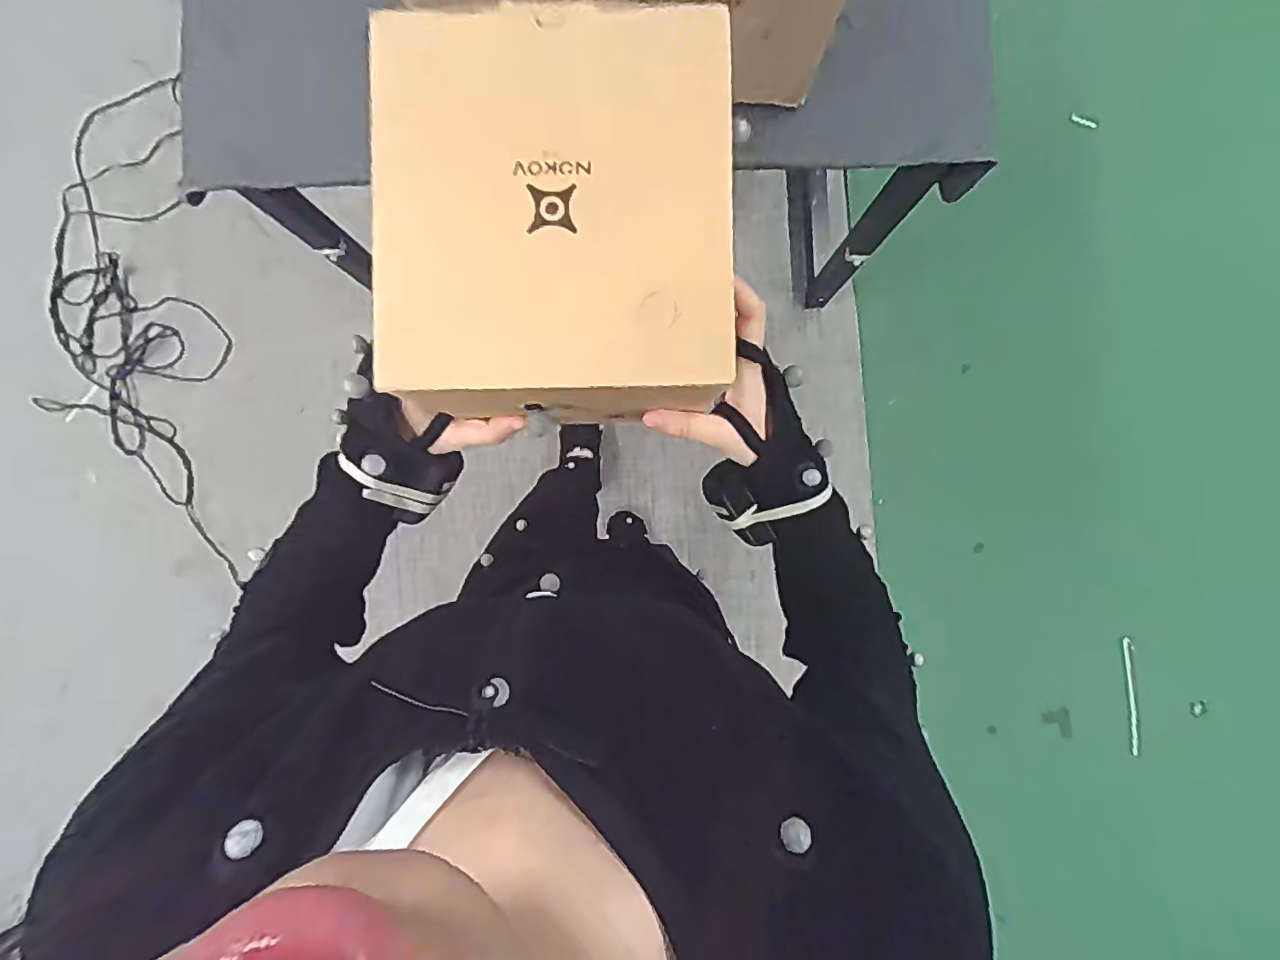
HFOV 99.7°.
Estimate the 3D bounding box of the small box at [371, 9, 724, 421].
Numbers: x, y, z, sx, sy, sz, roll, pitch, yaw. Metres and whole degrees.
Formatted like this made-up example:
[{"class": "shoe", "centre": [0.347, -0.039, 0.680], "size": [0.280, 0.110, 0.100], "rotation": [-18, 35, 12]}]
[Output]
[{"class": "small box", "centre": [-0.041, -0.129, 0.330], "size": [0.168, 0.176, 0.179], "rotation": [-1, 90, 0]}]
